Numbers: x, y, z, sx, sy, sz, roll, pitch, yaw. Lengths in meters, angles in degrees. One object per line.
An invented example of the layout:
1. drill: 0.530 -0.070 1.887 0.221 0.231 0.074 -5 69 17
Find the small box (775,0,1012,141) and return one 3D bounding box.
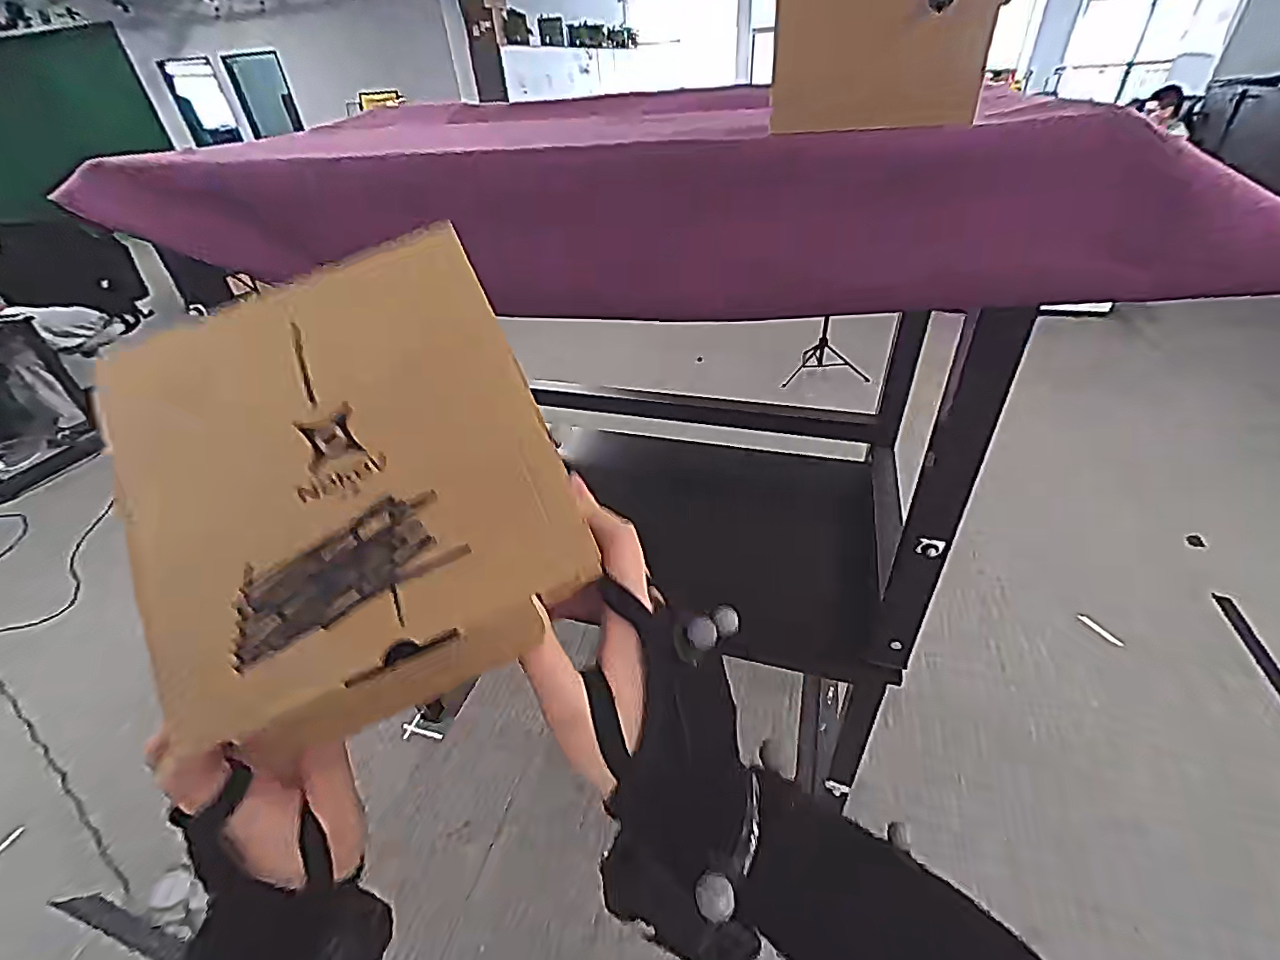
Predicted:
1. small box: 0.231 -0.417 0.490 0.179 0.176 0.168 11 38 21
